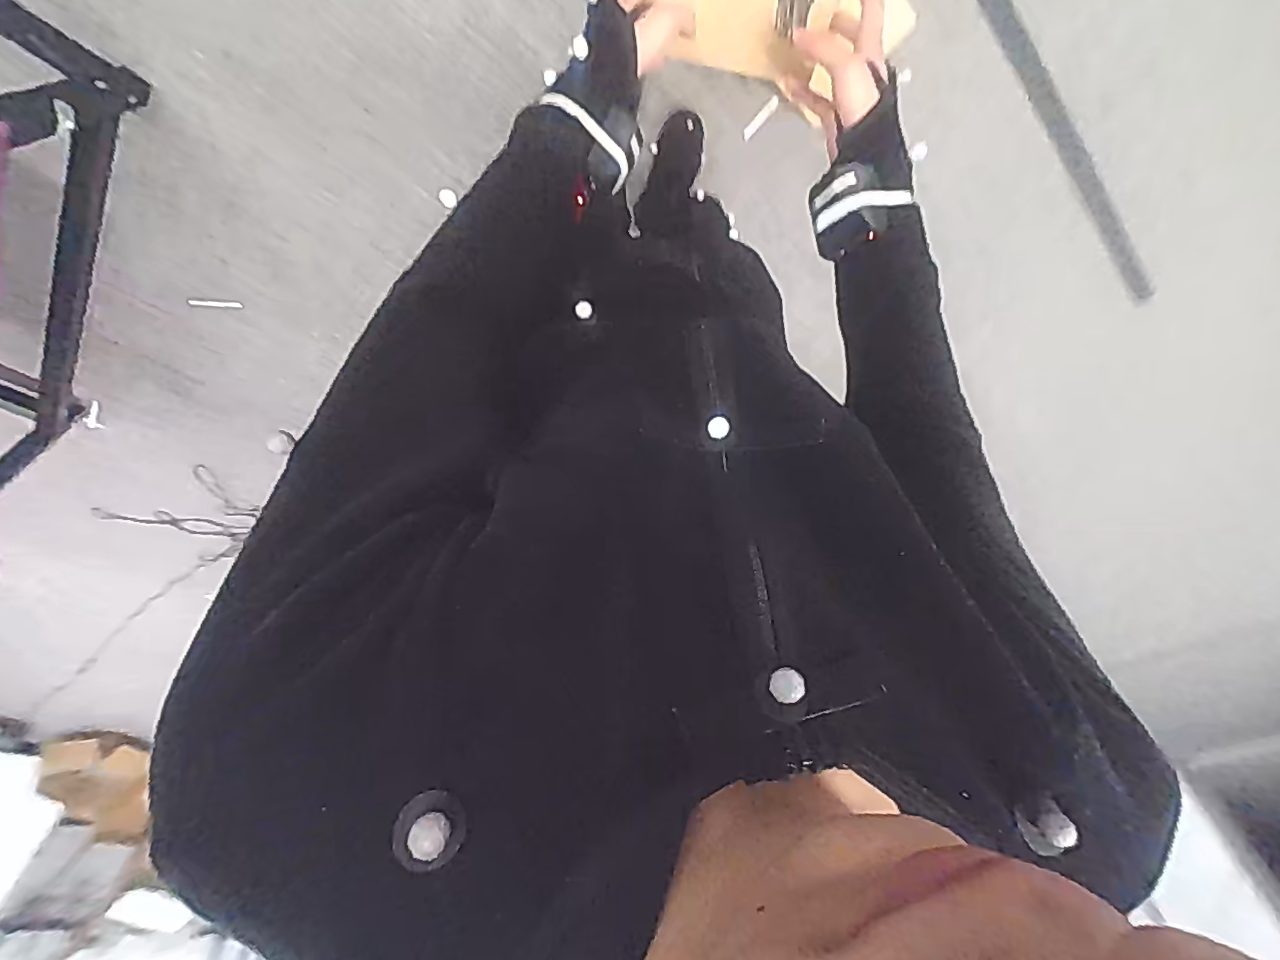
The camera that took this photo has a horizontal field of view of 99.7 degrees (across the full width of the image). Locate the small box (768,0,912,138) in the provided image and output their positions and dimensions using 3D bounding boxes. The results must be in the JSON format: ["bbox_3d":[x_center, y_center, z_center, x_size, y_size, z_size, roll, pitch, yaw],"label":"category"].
[{"bbox_3d":[0.264,-0.673,0.820,0.168,0.176,0.179,31,126,-29],"label":"small box"}]

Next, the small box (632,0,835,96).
[{"bbox_3d":[0.090,-0.503,0.513,0.179,0.176,0.168,6,143,-7],"label":"small box"}]
